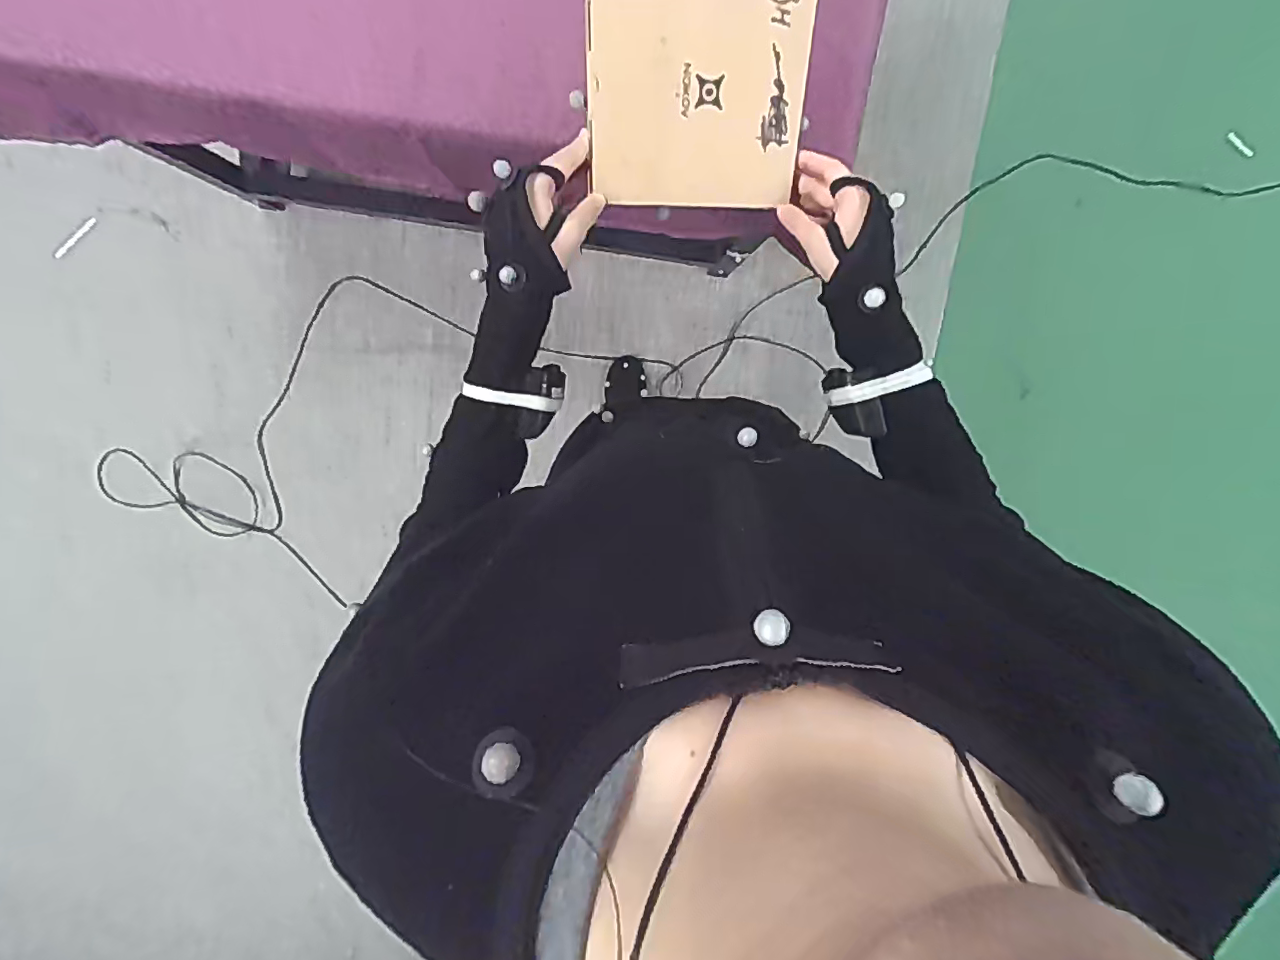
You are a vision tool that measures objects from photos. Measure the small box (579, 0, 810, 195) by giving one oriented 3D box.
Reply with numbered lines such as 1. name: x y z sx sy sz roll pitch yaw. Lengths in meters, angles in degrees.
1. small box: 0.036 -0.359 0.494 0.179 0.176 0.168 0 117 -5
